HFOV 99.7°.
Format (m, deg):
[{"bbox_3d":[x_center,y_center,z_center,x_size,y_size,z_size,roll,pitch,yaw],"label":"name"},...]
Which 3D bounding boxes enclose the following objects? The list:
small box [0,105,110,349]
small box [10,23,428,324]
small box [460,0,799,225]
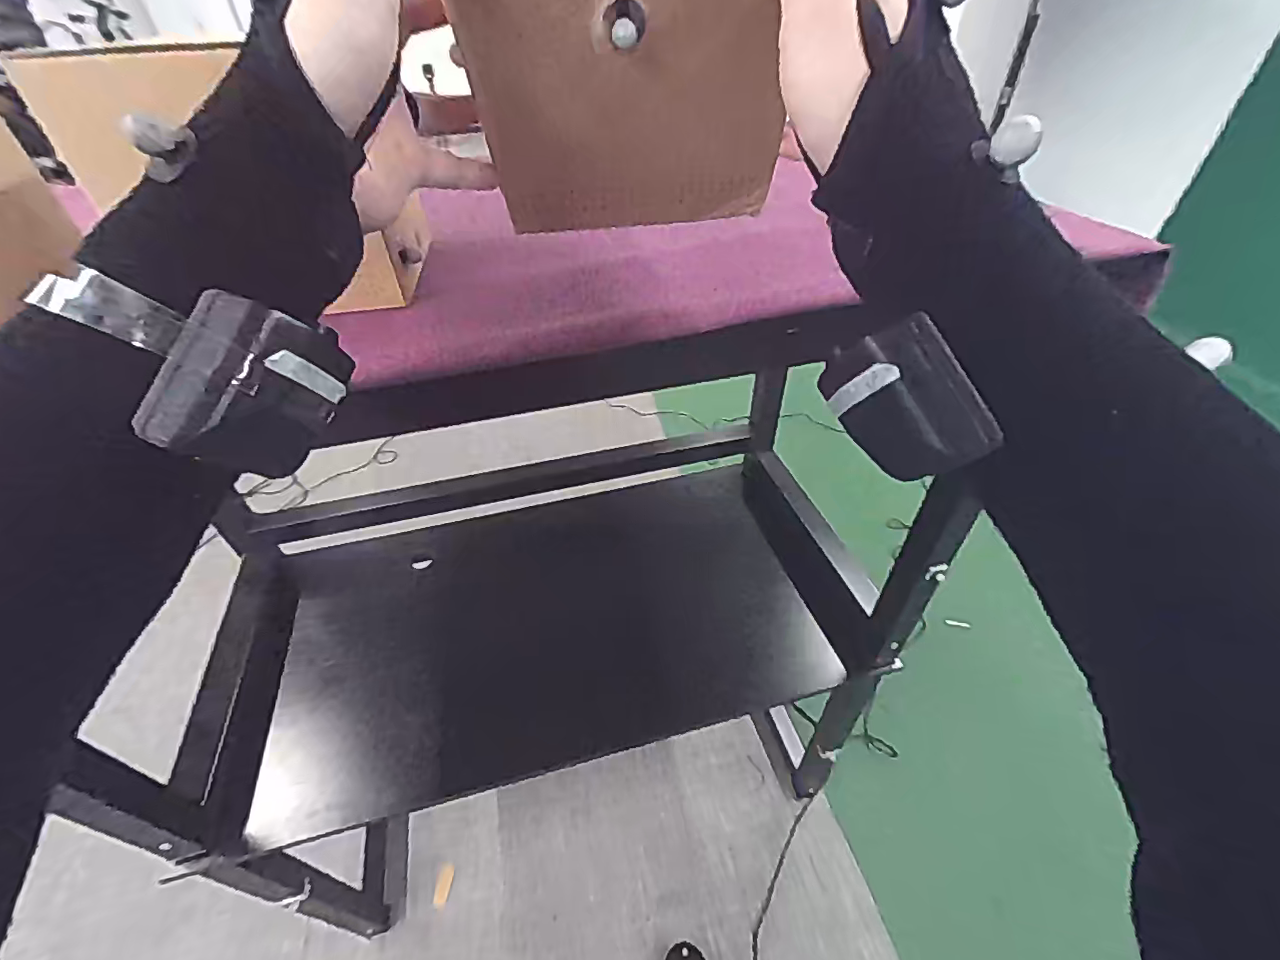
[{"bbox_3d":[-0.554,-0.185,0.376,0.179,0.176,0.168,-10,44,-8],"label":"small box"},{"bbox_3d":[-0.282,-0.241,0.425,0.179,0.176,0.168,-9,42,-6],"label":"small box"},{"bbox_3d":[-0.007,-0.283,0.334,0.179,0.176,0.168,-4,69,-1],"label":"small box"}]
